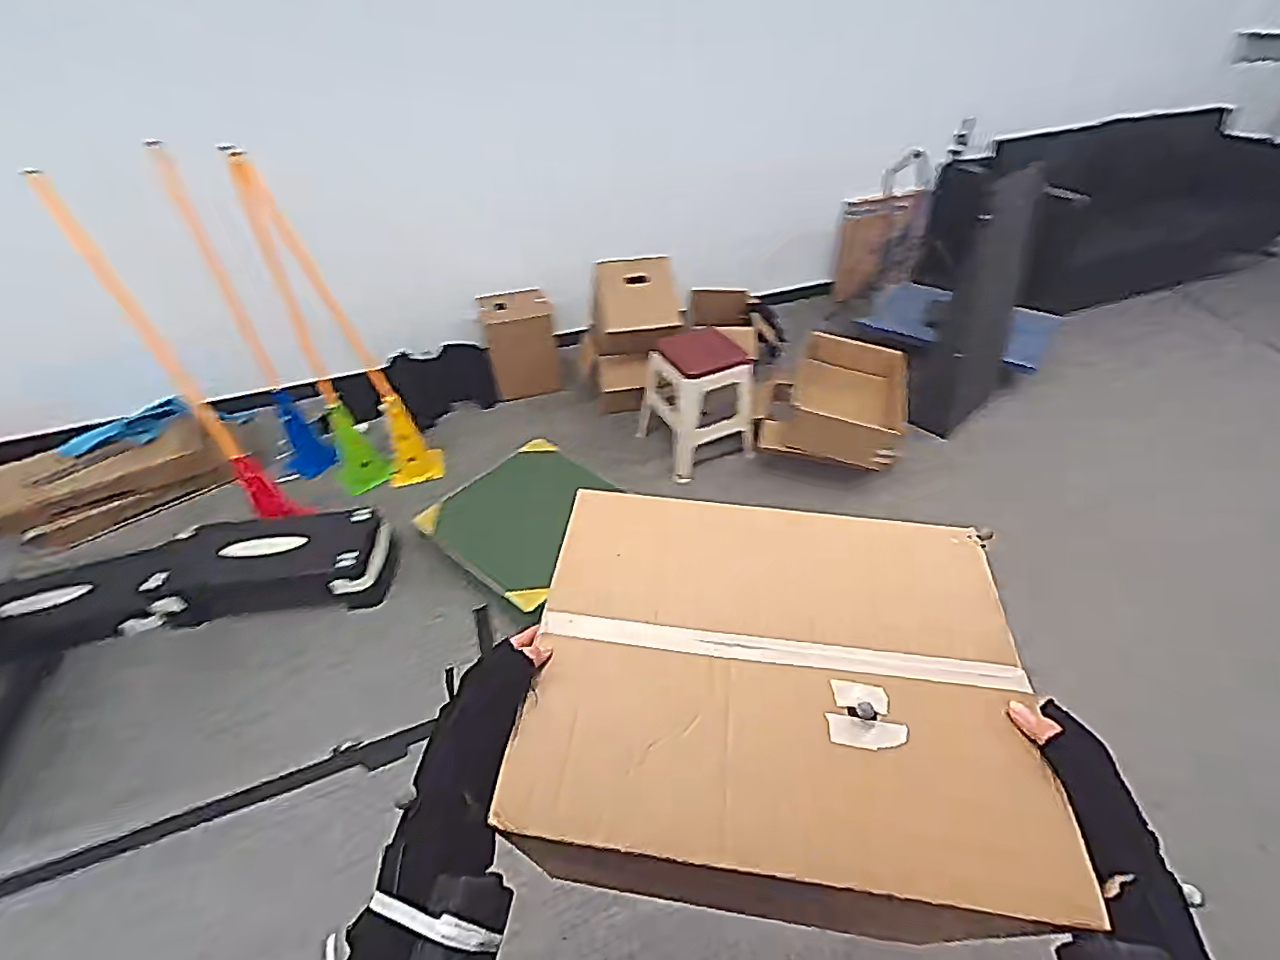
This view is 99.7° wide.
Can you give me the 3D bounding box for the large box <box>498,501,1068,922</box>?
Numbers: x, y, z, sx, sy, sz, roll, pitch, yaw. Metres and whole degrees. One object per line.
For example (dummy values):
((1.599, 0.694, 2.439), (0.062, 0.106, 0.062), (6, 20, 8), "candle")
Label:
((0.107, 0.249, 0.583), (0.408, 0.320, 0.320), (5, 49, 5), "large box")
